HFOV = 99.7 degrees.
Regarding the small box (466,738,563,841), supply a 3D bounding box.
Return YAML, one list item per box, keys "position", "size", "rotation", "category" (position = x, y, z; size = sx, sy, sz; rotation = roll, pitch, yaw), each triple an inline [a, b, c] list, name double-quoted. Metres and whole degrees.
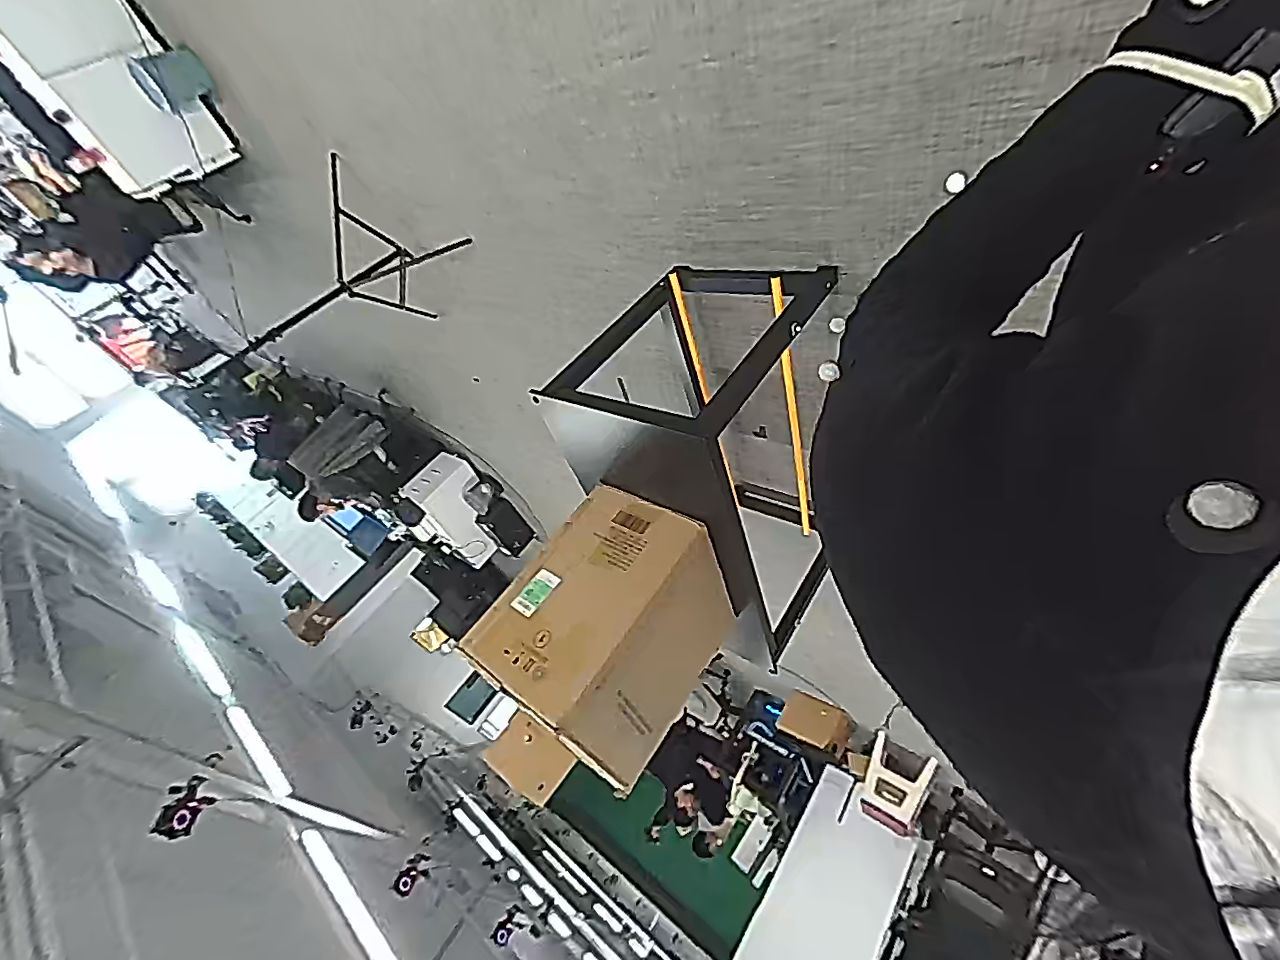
- position: [-0.348, 0.870, 1.527]
  size: [0.168, 0.176, 0.179]
  rotation: [21, 148, 36]
  category: "small box"
